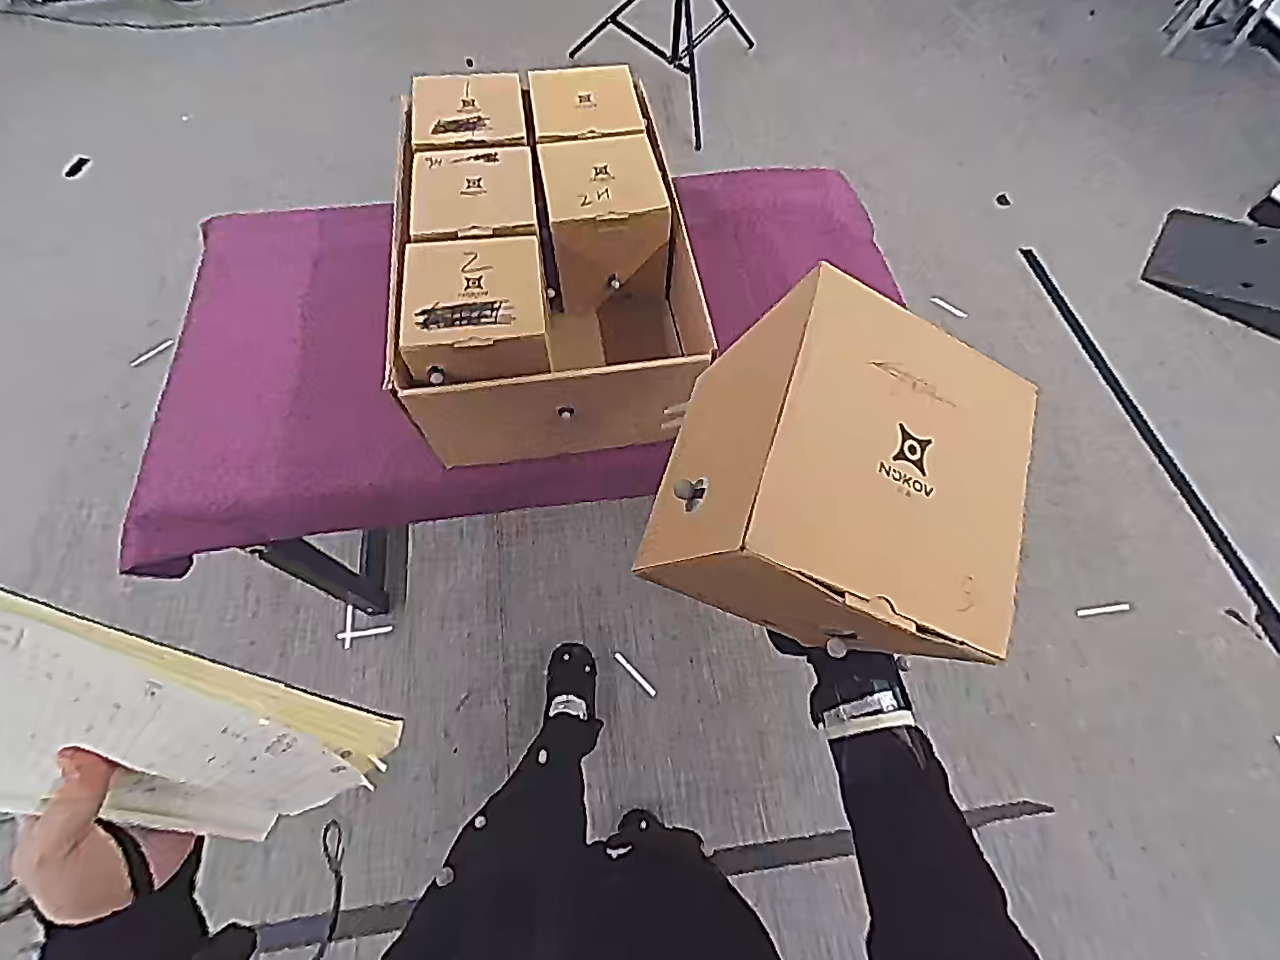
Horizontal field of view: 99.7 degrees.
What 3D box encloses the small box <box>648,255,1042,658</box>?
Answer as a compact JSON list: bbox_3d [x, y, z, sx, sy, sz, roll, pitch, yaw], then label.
[{"bbox_3d":[0.120,0.001,0.361,0.168,0.176,0.179,23,71,-13],"label":"small box"}]
